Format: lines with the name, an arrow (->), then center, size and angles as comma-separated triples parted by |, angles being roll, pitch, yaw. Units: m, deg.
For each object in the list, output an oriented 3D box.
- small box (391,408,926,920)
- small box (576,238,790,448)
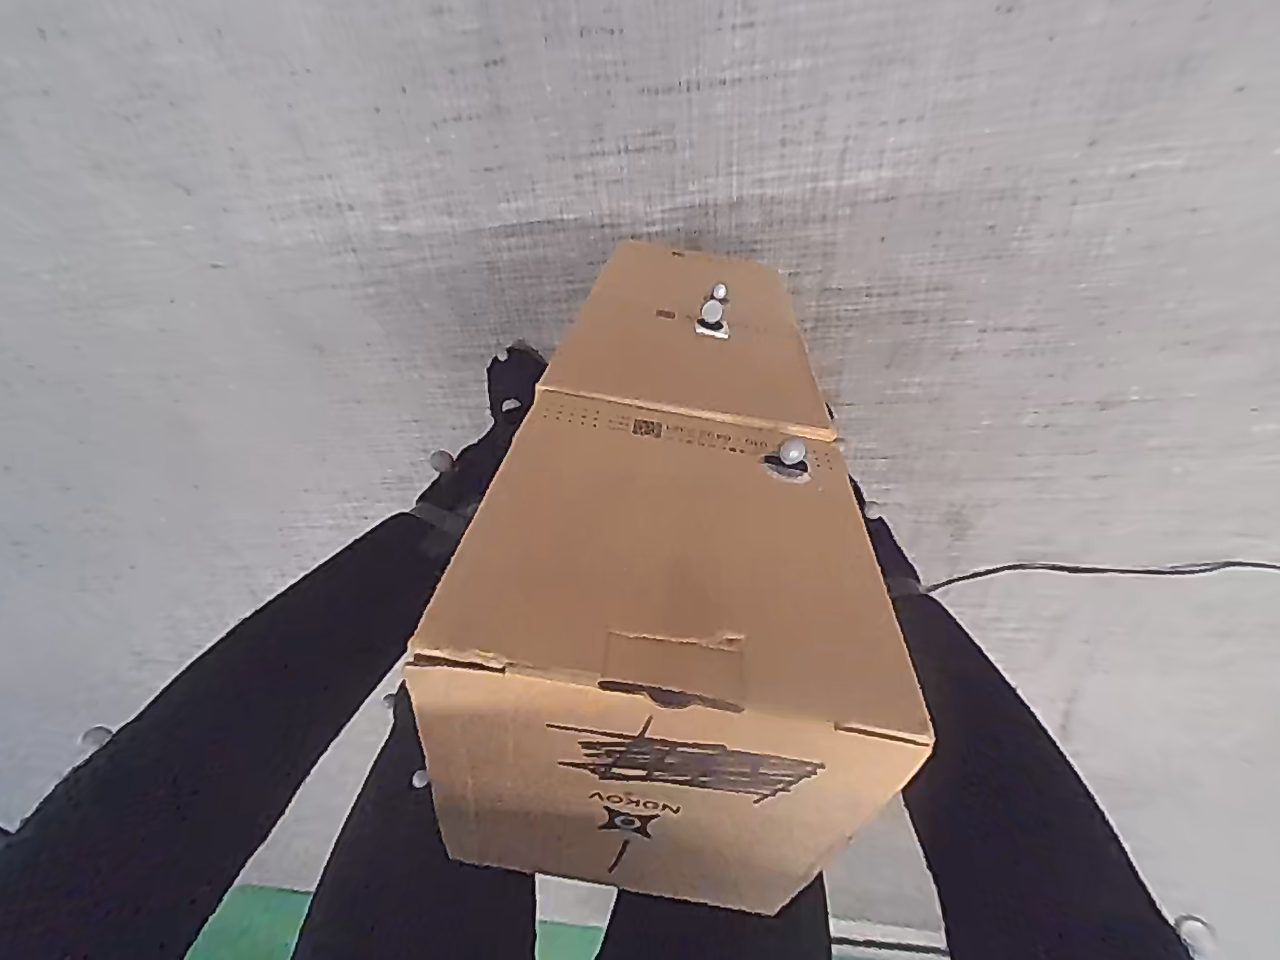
small box -> 0.003, 0.085, 0.273 | 0.168, 0.176, 0.179 | 10, 129, 0
small box -> 0.036, -0.114, 0.530 | 0.168, 0.176, 0.179 | 10, 128, 1
